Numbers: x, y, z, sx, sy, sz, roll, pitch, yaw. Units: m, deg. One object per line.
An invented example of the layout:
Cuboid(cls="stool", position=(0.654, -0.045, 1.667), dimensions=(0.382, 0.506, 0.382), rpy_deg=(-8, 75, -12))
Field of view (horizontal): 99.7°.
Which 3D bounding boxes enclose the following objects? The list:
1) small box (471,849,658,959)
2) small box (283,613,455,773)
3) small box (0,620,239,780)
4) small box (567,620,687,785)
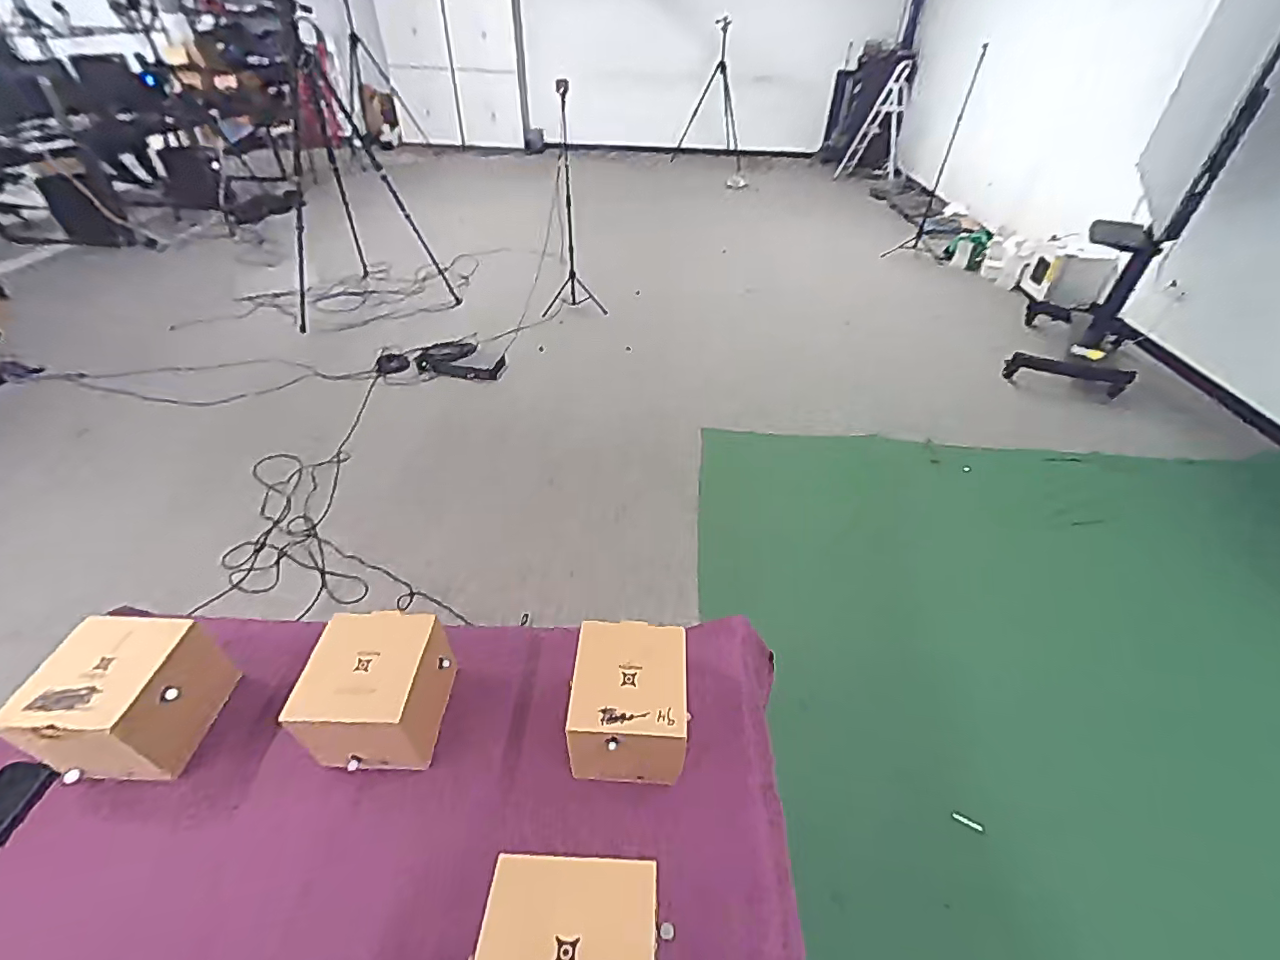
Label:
Cuboid(cls="small box", position=(-0.069, 0.498, 0.523), dimensions=(0.168, 0.176, 0.179), rpy_deg=(1, 32, 4))
Cuboid(cls="small box", position=(-0.403, 0.331, 0.846), dimensions=(0.168, 0.176, 0.179), rpy_deg=(1, 41, 1))
Cuboid(cls="small box", position=(-0.769, 0.338, 0.828), dimensions=(0.168, 0.176, 0.179), rpy_deg=(2, 40, 0))
Cuboid(cls="small box", position=(-0.015, 0.343, 0.839), dimensions=(0.168, 0.176, 0.179), rpy_deg=(2, 41, 2))
